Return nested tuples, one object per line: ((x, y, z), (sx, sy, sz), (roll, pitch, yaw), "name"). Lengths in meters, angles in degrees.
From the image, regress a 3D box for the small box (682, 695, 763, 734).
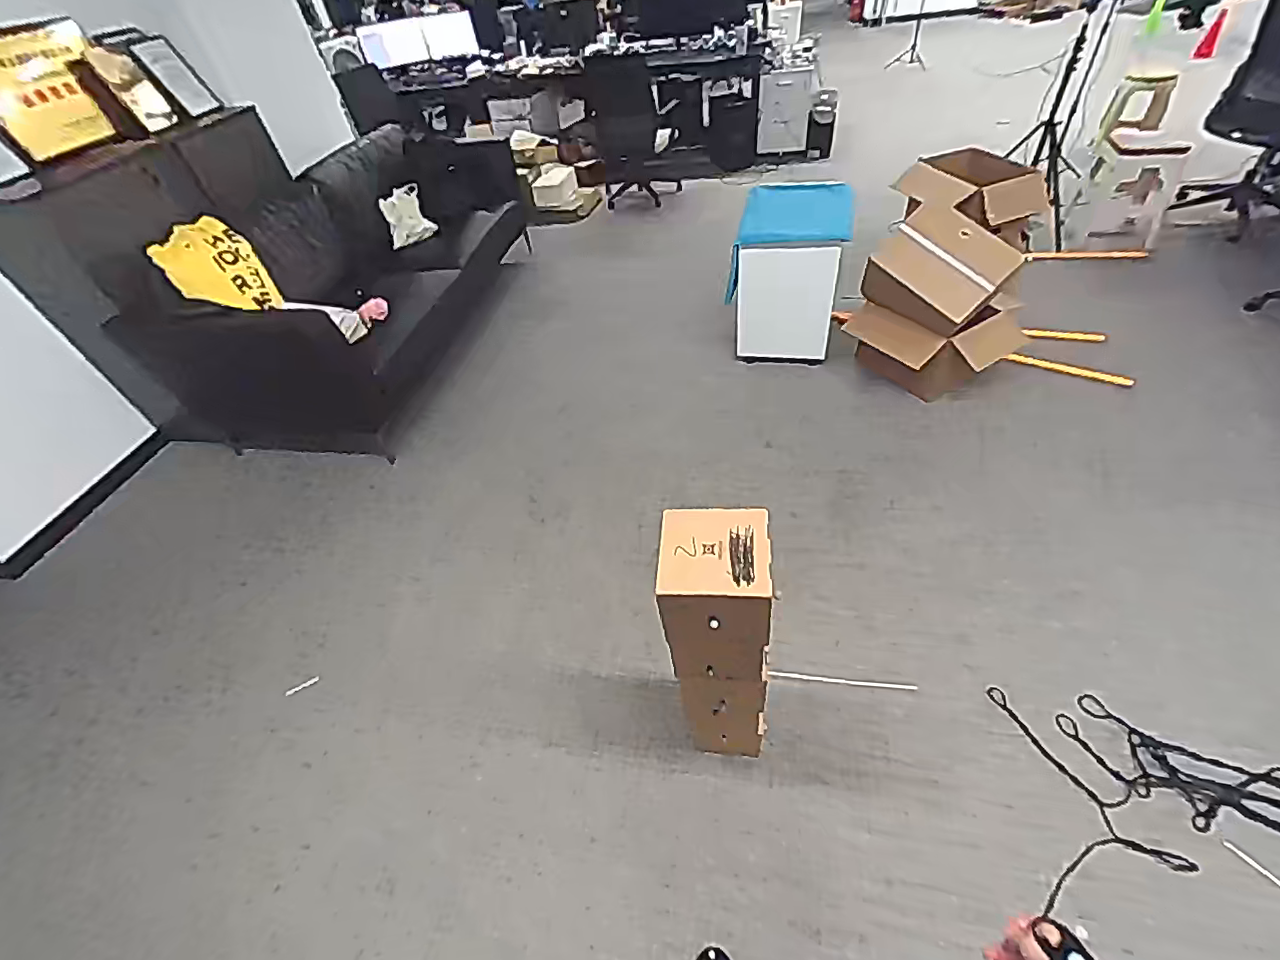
((0.201, 0.481, 1.276), (0.179, 0.176, 0.168), (2, 47, 12), "small box")

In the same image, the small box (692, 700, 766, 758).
((0.233, 0.595, 1.389), (0.179, 0.176, 0.168), (2, 46, 11), "small box")

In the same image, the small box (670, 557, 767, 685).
((0.154, 0.268, 1.033), (0.168, 0.176, 0.179), (0, 47, 11), "small box")

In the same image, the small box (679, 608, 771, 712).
((0.181, 0.378, 1.149), (0.179, 0.176, 0.168), (0, 46, 10), "small box")
